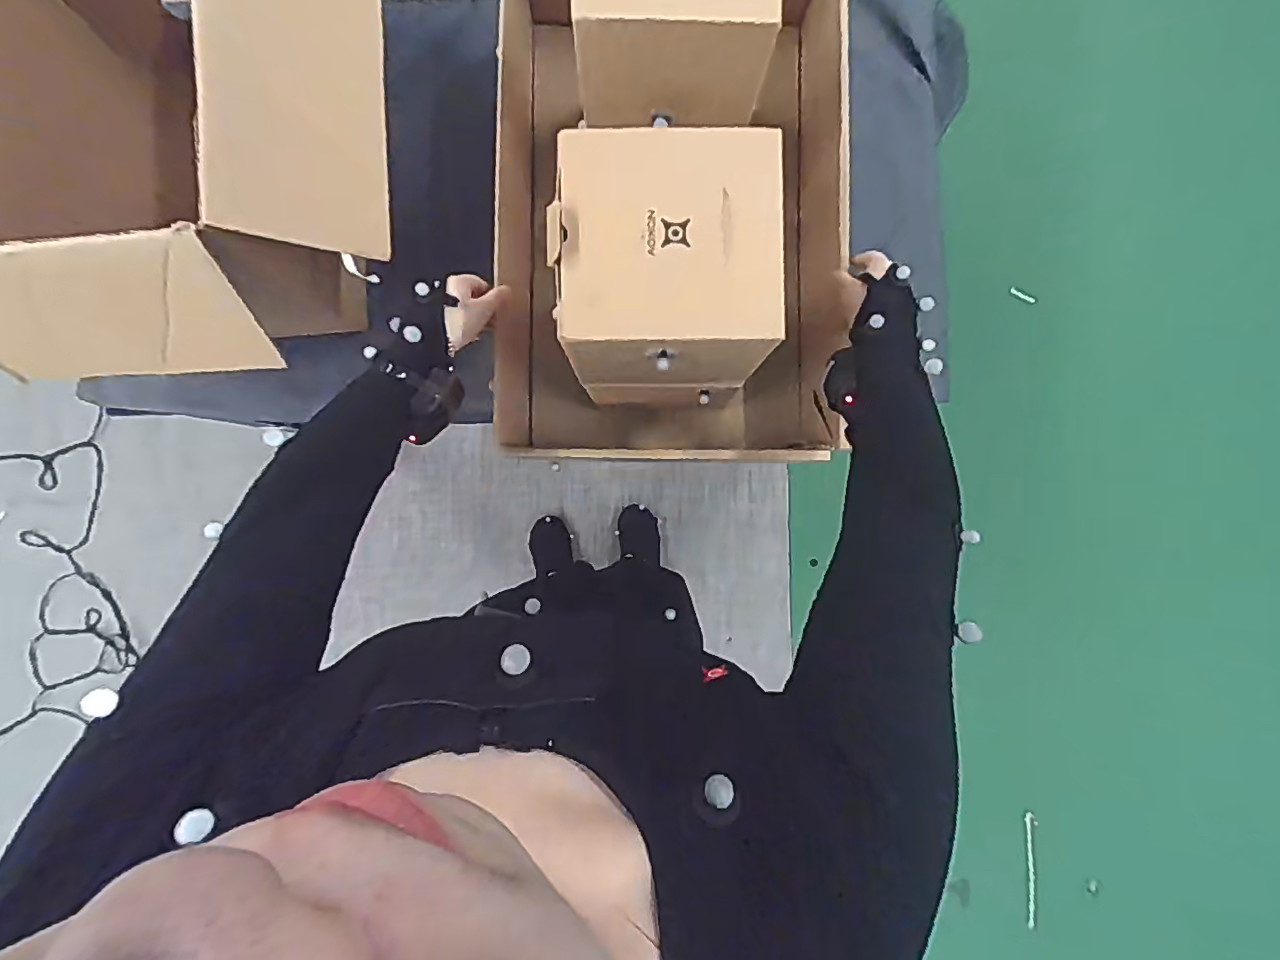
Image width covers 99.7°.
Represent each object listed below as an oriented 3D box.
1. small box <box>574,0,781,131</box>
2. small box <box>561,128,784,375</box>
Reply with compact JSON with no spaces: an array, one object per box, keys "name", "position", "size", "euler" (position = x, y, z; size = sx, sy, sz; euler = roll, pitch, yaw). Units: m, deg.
[{"name":"small box","position":[0.030,-0.448,0.502],"size":[0.168,0.176,0.179],"euler":[1,92,-1]},{"name":"small box","position":[0.025,-0.194,0.506],"size":[0.179,0.176,0.168],"euler":[-1,91,-1]}]
